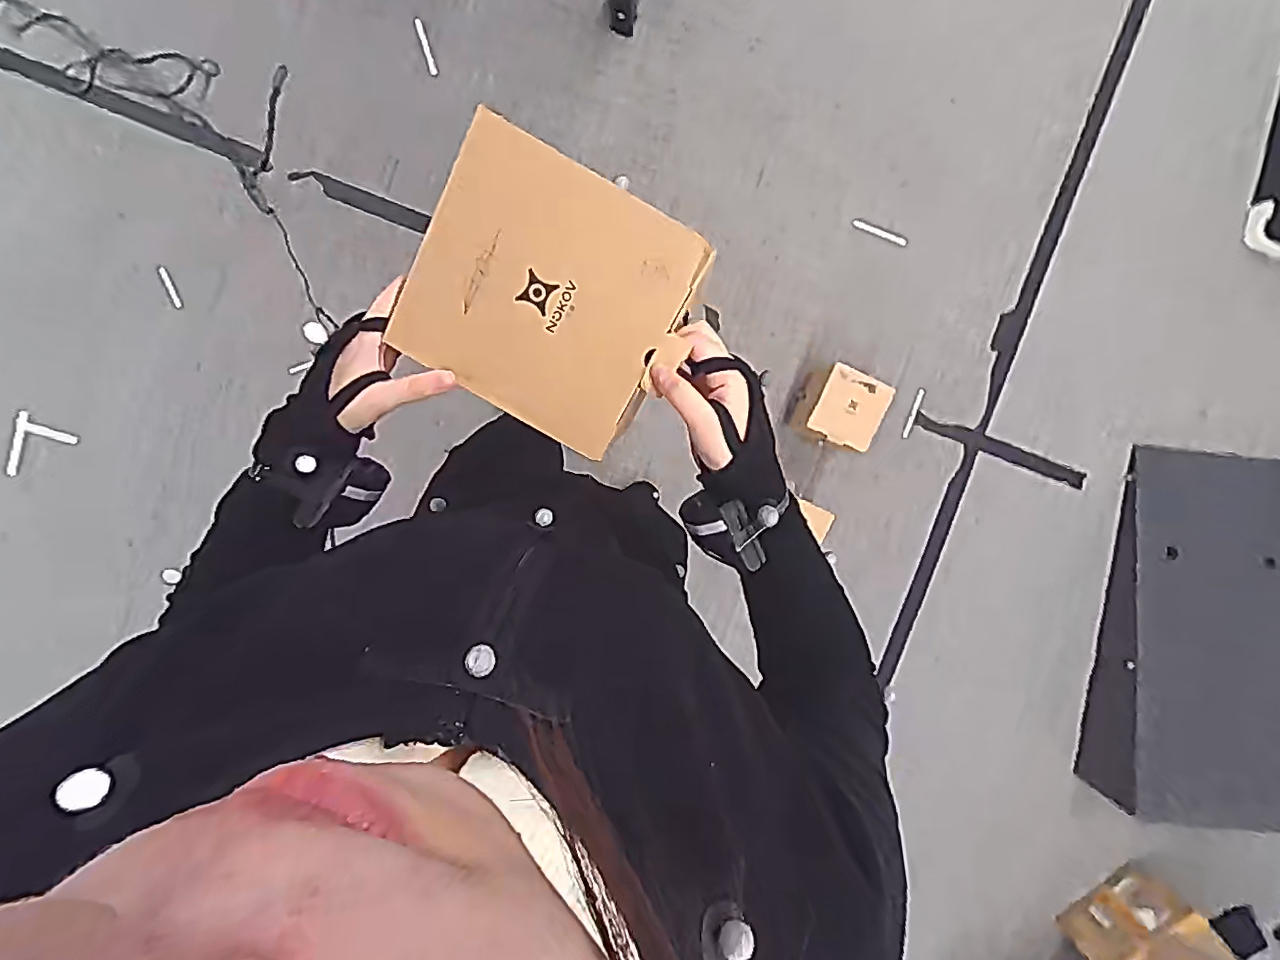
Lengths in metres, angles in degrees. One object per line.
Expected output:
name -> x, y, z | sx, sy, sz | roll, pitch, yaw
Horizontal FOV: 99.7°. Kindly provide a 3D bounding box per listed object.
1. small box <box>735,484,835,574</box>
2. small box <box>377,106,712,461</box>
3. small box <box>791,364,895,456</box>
small box -> 0.370, 0.120, 1.421 | 0.179, 0.176, 0.168 | 26, 94, -5
small box -> -0.060, -0.140, 0.431 | 0.179, 0.176, 0.168 | 30, 103, -2
small box -> 0.512, -0.179, 1.397 | 0.168, 0.176, 0.179 | 25, 95, -4
